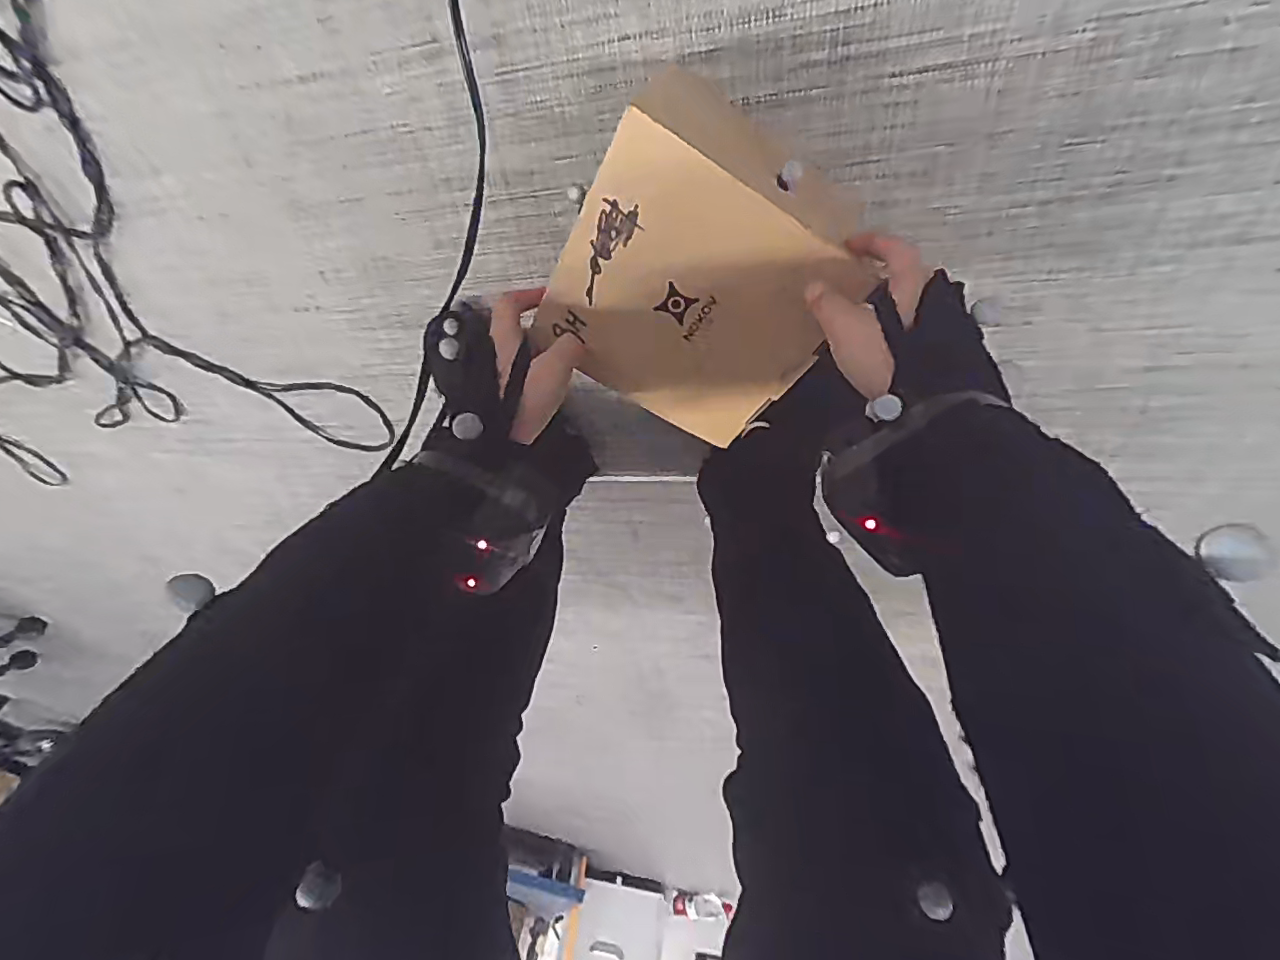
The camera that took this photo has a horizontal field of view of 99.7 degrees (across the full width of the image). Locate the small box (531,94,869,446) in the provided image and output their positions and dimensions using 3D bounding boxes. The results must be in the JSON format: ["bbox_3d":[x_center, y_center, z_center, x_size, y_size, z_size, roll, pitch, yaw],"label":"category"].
[{"bbox_3d":[0.044,-0.165,0.424,0.179,0.176,0.168,27,131,-13],"label":"small box"}]
